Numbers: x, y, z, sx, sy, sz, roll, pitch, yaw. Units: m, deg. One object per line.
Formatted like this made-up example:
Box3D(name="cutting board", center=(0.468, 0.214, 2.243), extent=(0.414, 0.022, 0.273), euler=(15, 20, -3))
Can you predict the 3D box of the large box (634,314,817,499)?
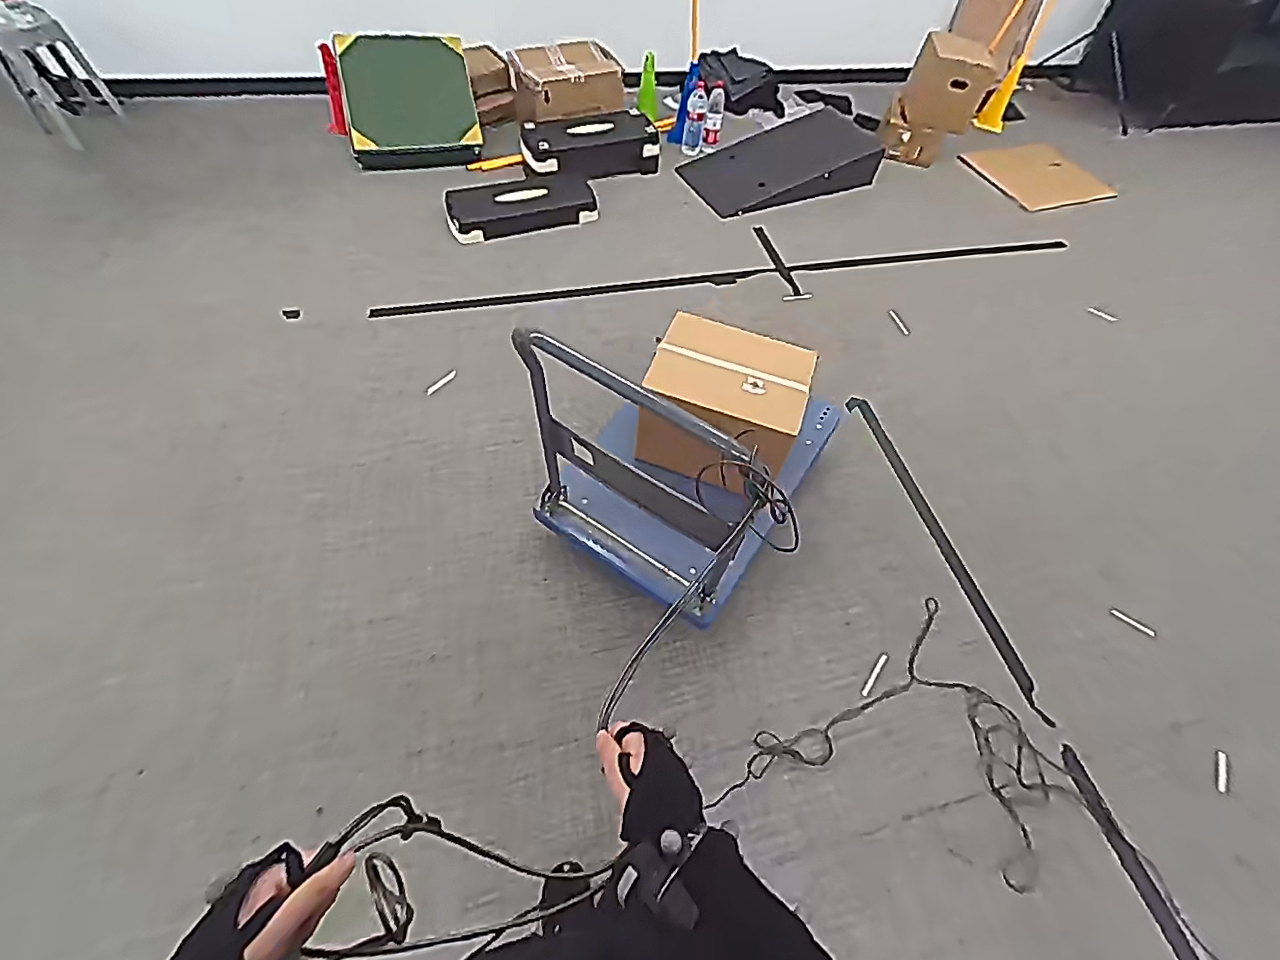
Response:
Box3D(name="large box", center=(0.227, -0.200, 1.510), extent=(0.408, 0.320, 0.320), euler=(19, 58, 7))
